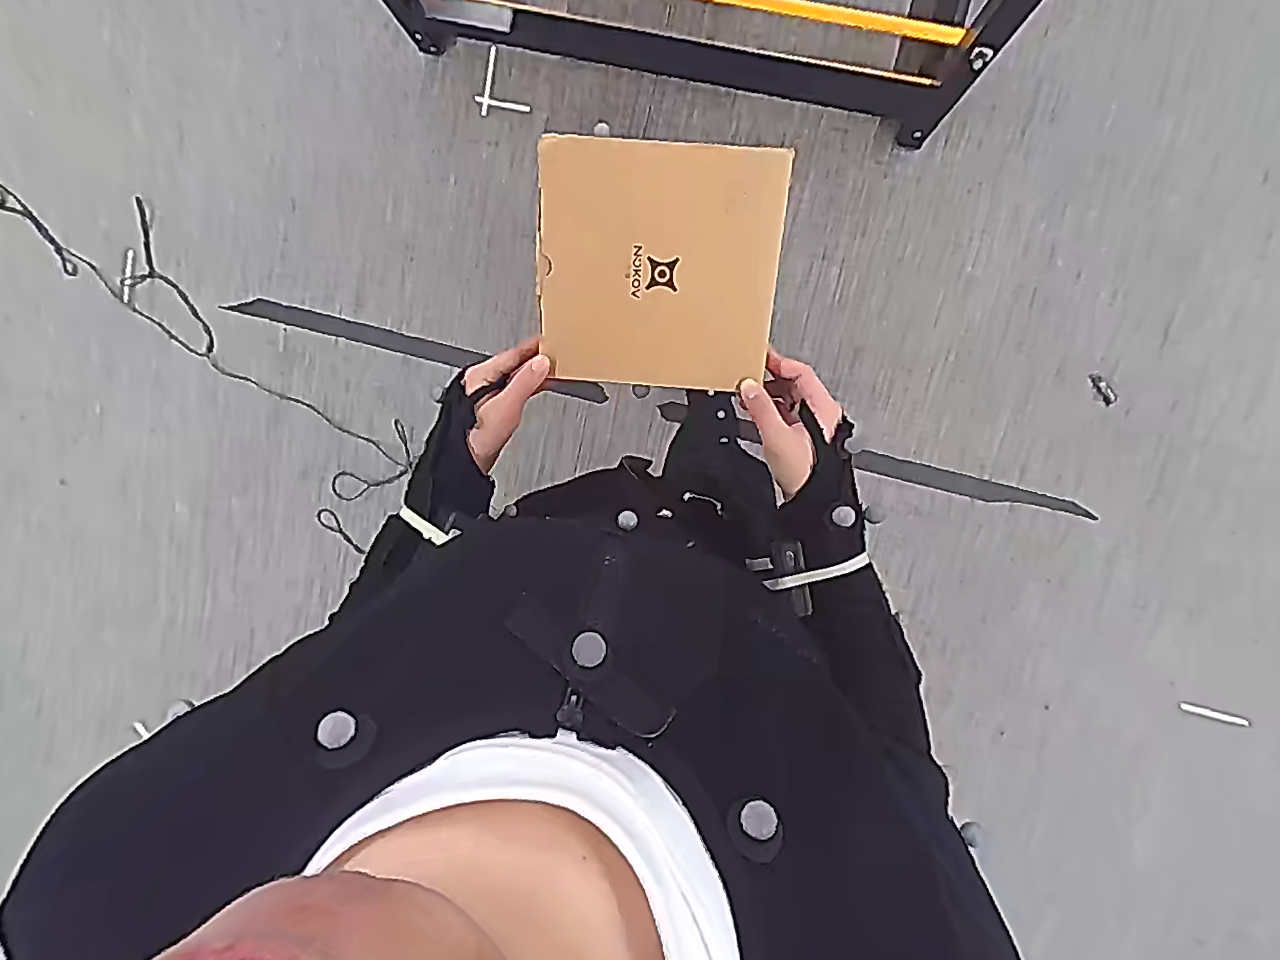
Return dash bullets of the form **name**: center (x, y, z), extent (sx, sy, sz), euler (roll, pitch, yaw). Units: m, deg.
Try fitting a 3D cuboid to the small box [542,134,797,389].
- **small box**: center (0.021, -0.180, 0.468), extent (0.179, 0.176, 0.168), euler (5, 109, 3)
